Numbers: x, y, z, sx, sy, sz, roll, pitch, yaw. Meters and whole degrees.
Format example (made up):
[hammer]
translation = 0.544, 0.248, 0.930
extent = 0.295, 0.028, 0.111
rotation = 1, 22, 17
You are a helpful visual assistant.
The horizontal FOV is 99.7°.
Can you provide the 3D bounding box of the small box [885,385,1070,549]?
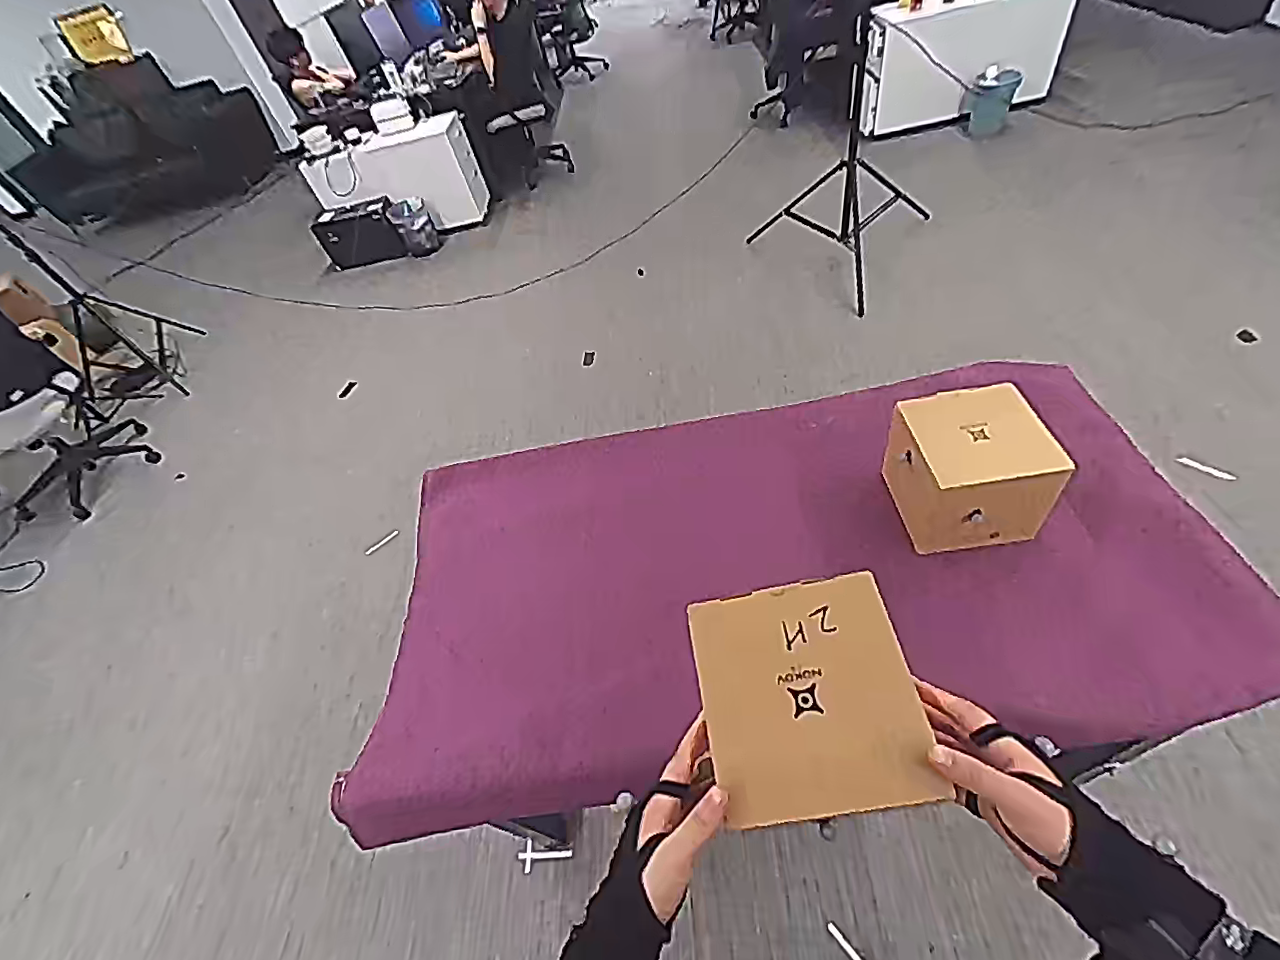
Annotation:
[small box]
translation = 0.485, -0.011, 0.812
extent = 0.168, 0.176, 0.179
rotation = -9, 48, 8
